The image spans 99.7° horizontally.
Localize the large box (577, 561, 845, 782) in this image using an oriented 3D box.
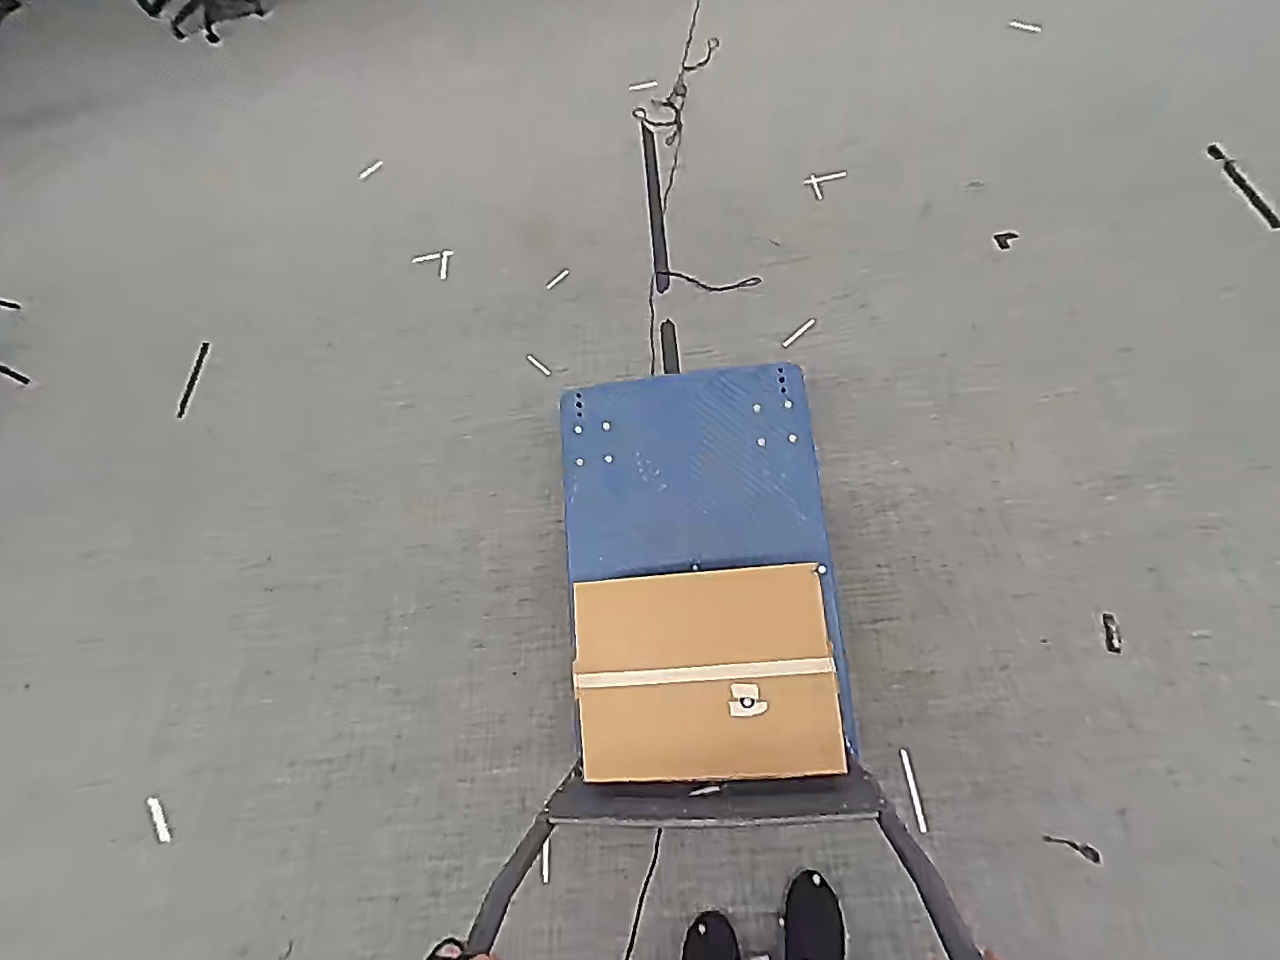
[{"bbox_3d":[0.120,0.334,1.014,0.408,0.320,0.320,-7,80,6],"label":"large box"}]
